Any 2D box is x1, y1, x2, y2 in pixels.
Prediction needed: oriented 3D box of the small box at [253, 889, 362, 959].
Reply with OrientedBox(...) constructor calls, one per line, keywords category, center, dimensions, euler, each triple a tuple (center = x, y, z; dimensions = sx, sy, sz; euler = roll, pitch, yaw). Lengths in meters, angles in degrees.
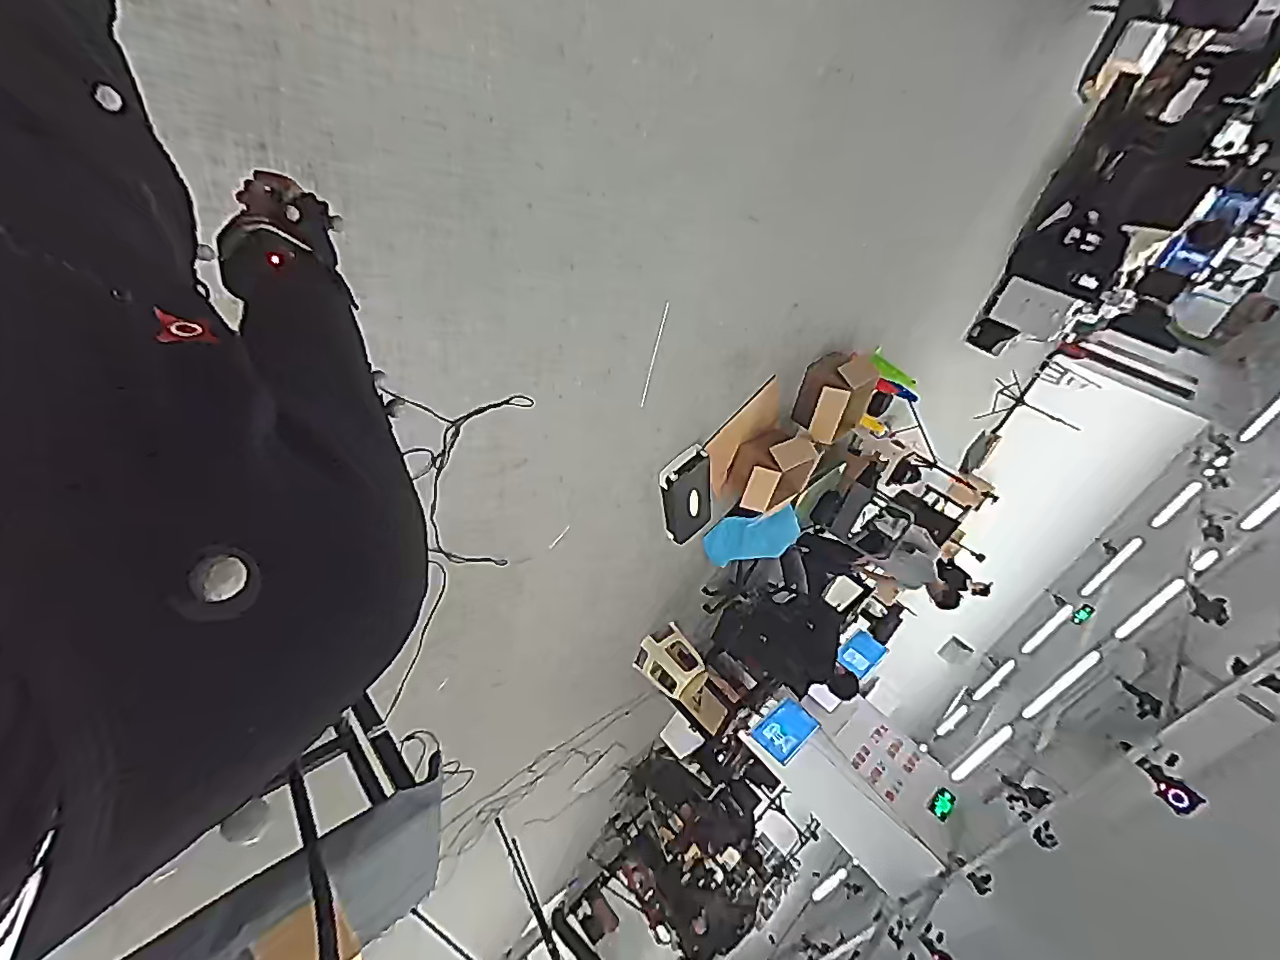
OrientedBox(category="small box", center=(-0.770, 1.111, 1.260), dimensions=(0.179, 0.176, 0.168), euler=(-17, 138, -41))
